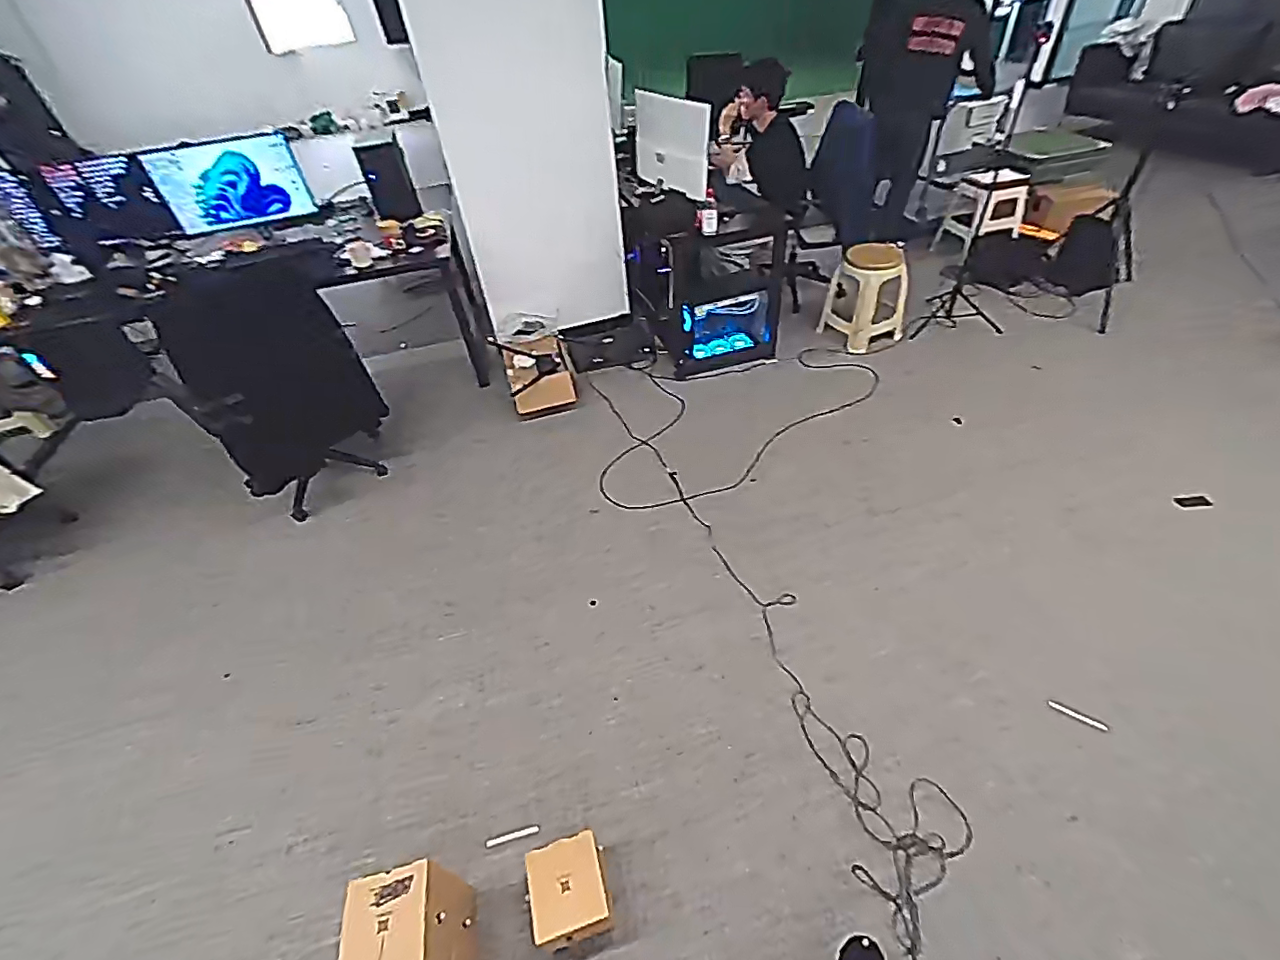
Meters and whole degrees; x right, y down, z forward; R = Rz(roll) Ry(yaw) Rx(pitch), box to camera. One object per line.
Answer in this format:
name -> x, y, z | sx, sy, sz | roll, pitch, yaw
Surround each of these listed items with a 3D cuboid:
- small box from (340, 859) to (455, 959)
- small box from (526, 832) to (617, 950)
small box -> -0.494, 0.929, 1.123 | 0.168, 0.176, 0.179 | -13, 45, -6
small box -> -0.159, 0.973, 1.276 | 0.168, 0.176, 0.179 | -15, 44, -9
